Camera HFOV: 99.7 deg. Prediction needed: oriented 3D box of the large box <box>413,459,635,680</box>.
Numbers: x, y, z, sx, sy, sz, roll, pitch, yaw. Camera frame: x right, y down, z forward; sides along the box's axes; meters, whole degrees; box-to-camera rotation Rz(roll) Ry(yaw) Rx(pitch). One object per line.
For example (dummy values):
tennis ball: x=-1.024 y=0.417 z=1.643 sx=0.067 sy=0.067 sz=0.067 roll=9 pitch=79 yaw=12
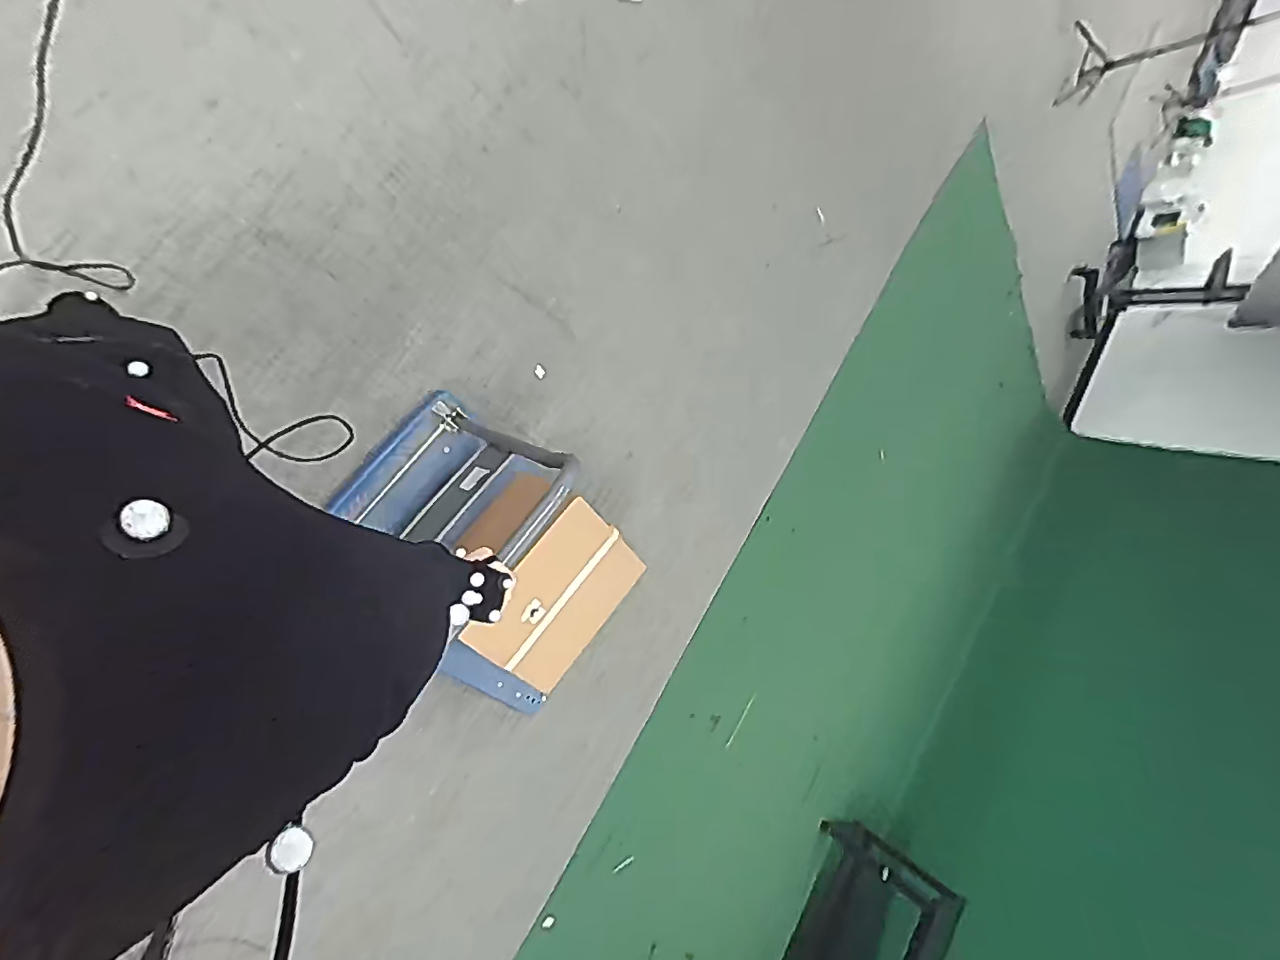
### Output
large box: x=-0.295 y=0.213 z=1.394 sx=0.408 sy=0.320 sz=0.320 roll=-51 pitch=127 yaw=-15
